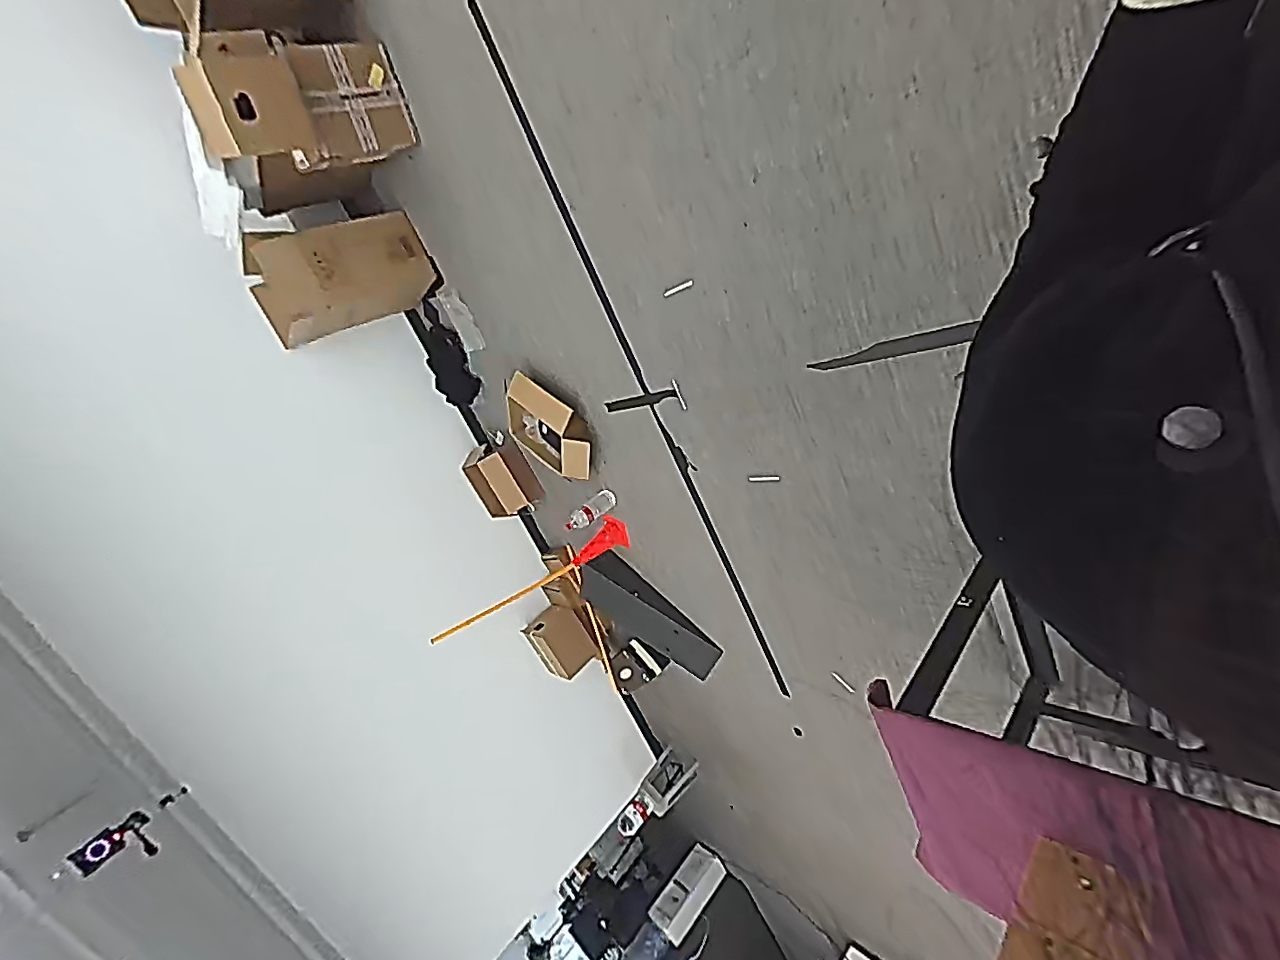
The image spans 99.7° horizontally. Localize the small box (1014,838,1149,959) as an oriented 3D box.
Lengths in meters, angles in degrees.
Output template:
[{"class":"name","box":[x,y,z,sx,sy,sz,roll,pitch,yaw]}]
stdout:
[{"class":"small box","box":[0.818,0.821,0.999,0.168,0.176,0.179,5,124,49]}]
